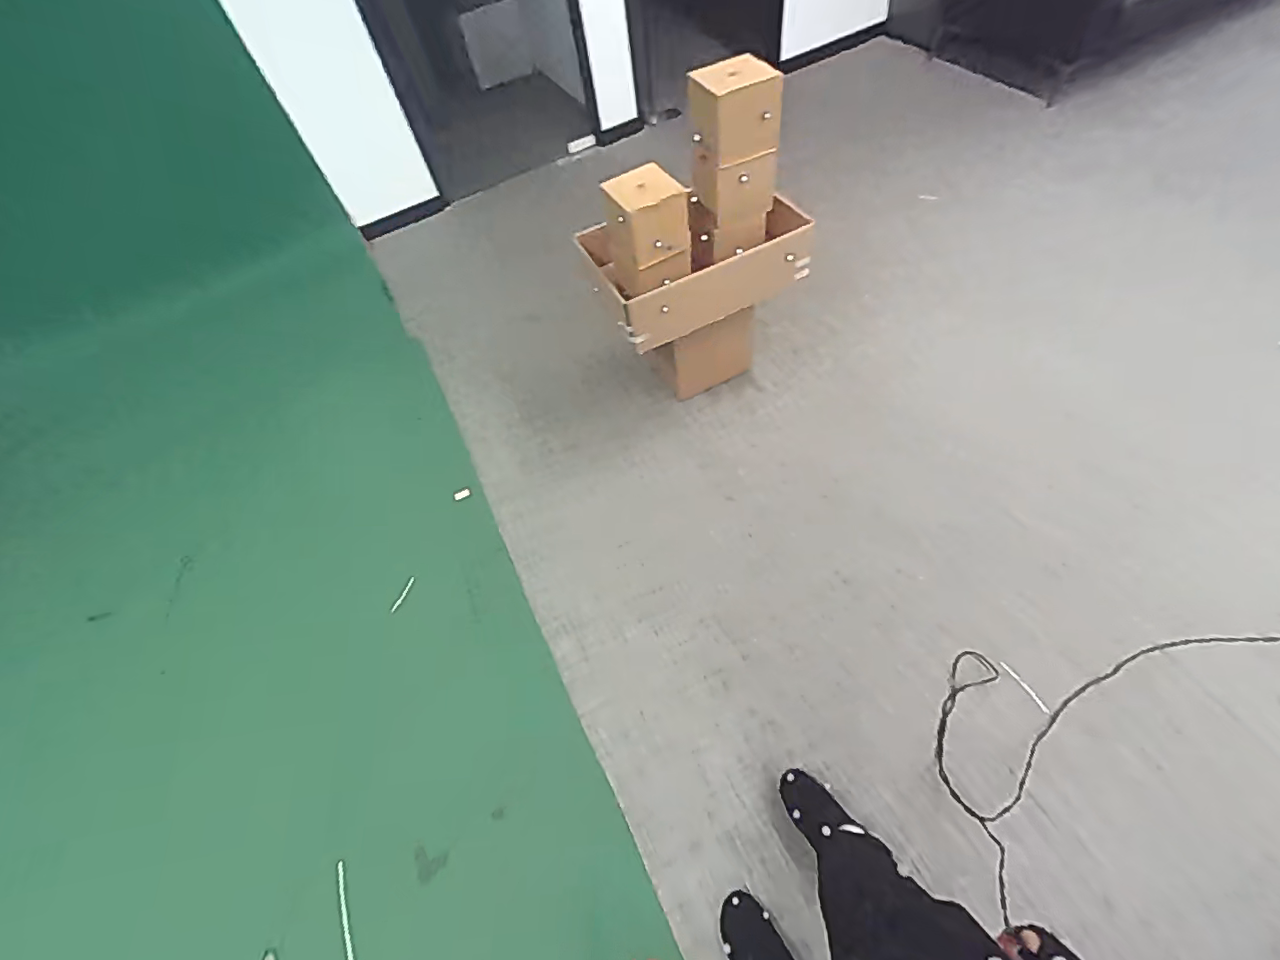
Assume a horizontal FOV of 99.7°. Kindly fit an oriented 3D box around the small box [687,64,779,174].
[{"bbox_3d":[0.236,-0.928,1.397,0.179,0.176,0.168,-24,55,-7],"label":"small box"}]

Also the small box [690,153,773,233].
[{"bbox_3d":[0.257,-0.829,1.524,0.179,0.176,0.168,-23,56,-7],"label":"small box"}]
